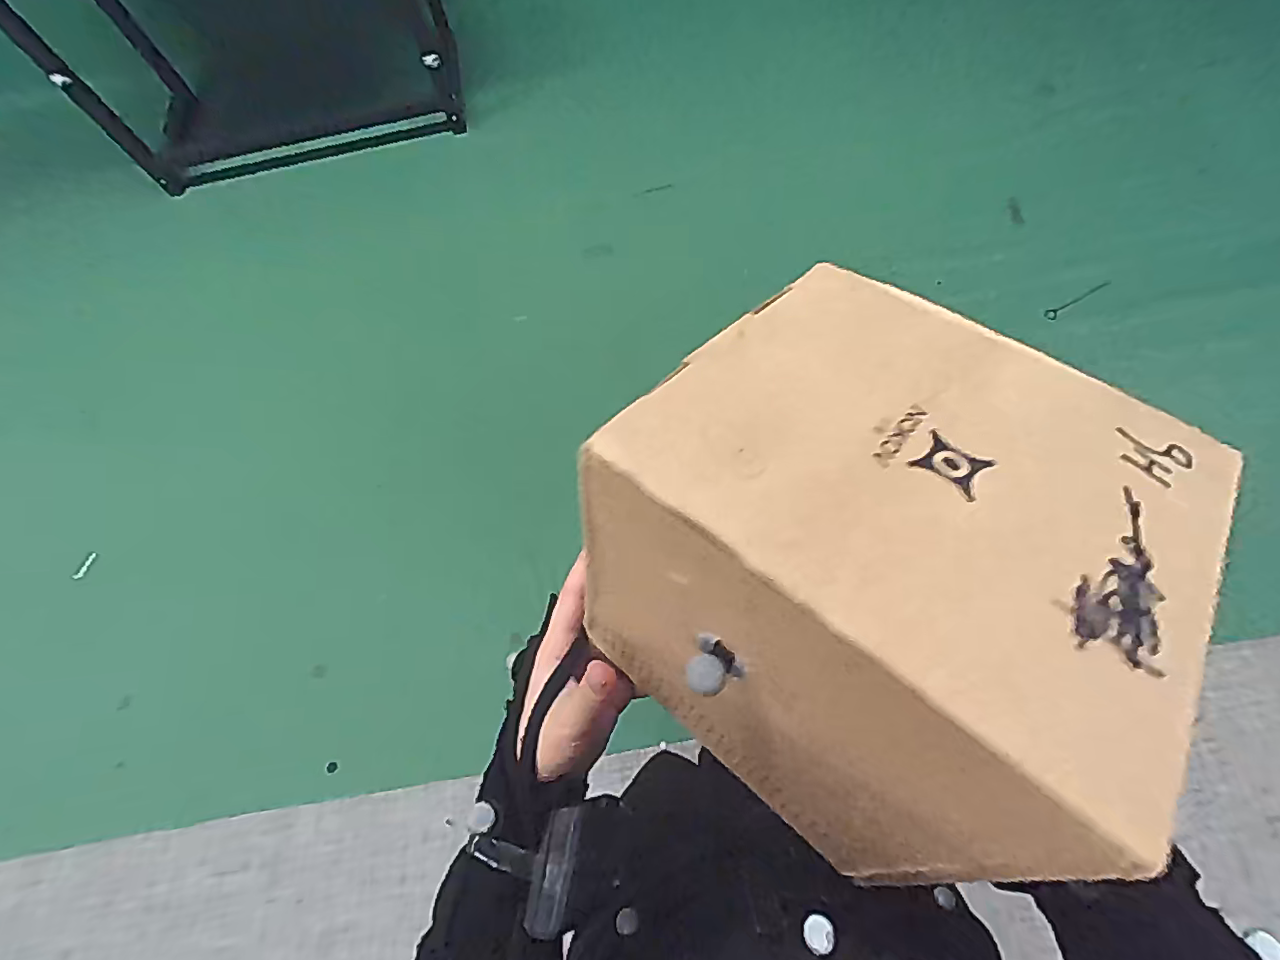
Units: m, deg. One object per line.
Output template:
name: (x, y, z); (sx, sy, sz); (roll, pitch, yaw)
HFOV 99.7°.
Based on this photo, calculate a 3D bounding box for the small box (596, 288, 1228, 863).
small box: (0.097, 0.047, 0.257); (0.179, 0.176, 0.168); (35, 59, 22)
